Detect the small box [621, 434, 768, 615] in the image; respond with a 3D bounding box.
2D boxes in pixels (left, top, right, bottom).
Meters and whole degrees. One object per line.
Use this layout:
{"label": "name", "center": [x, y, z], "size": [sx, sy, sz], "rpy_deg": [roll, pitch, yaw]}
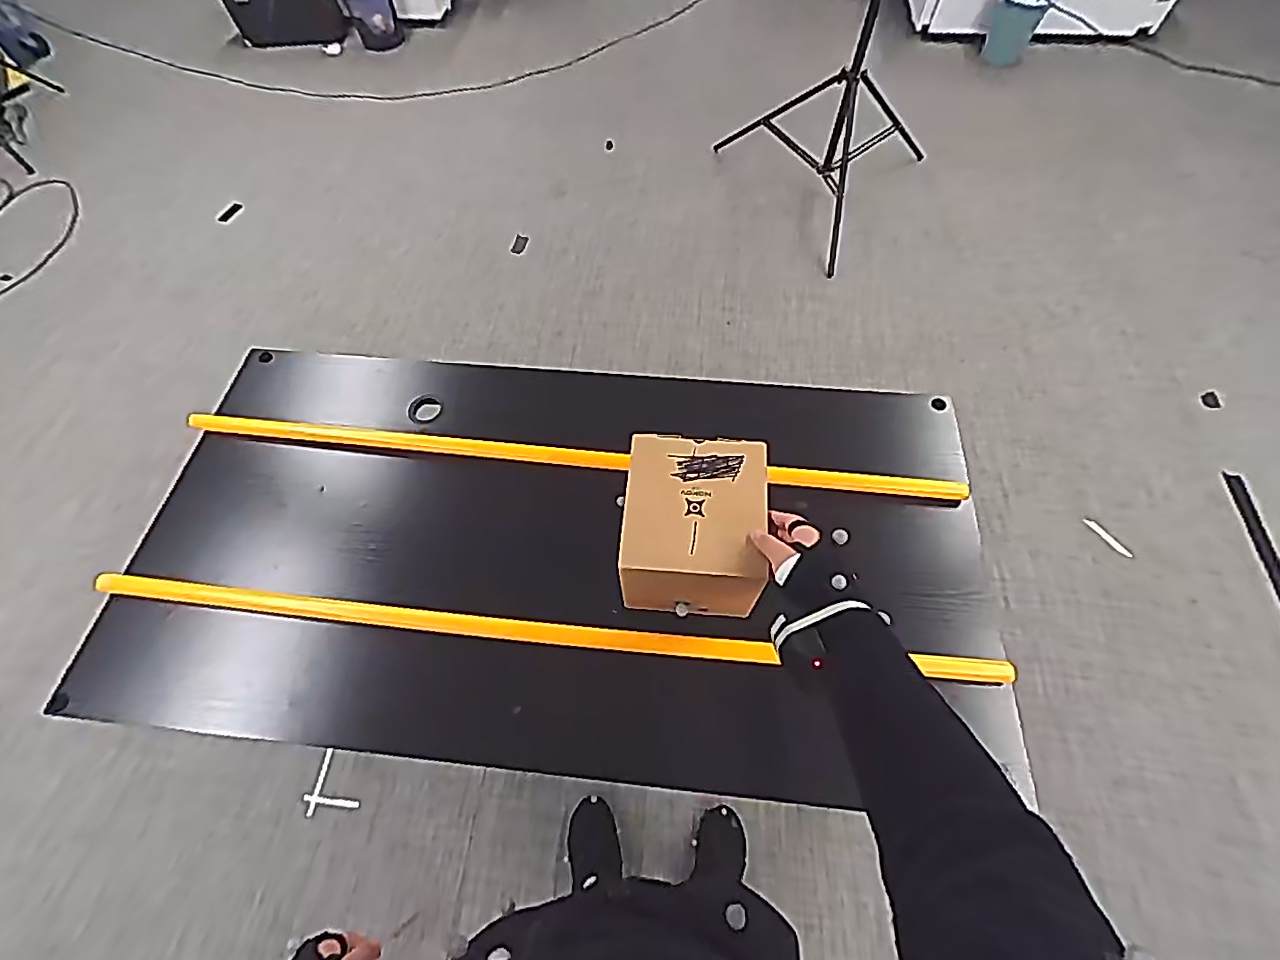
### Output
{"label": "small box", "center": [0.068, 0.062, 0.702], "size": [0.168, 0.176, 0.179], "rpy_deg": [4, 62, 4]}
